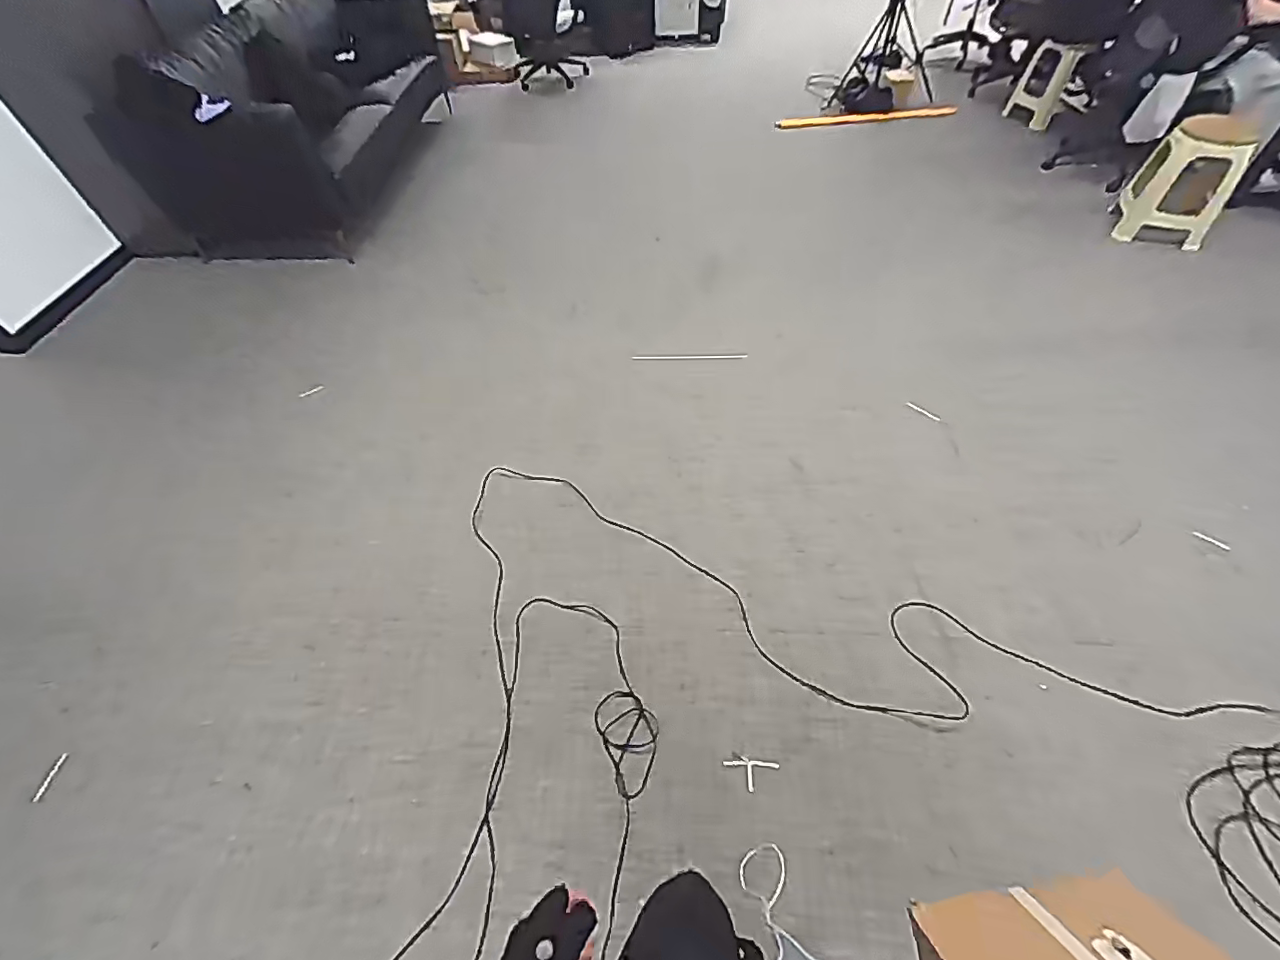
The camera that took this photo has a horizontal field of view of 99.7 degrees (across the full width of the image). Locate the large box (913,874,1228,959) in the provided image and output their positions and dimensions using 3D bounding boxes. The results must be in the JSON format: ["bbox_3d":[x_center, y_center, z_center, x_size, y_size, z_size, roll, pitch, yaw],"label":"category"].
[{"bbox_3d":[0.580,0.741,0.592,0.320,0.408,0.320,-9,85,0],"label":"large box"}]
